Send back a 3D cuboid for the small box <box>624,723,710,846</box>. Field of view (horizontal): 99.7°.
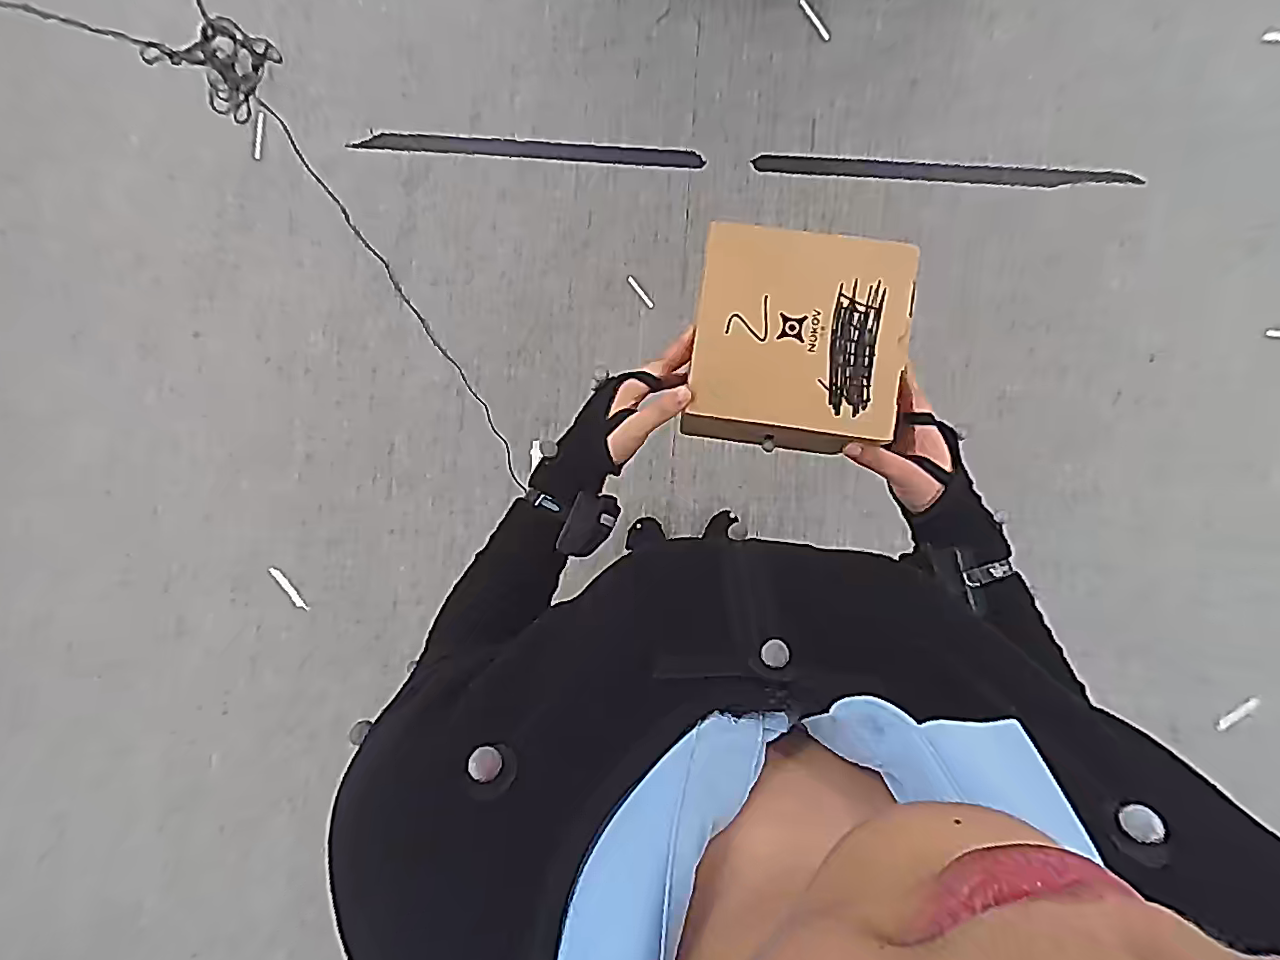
[{"bbox_3d":[0.063,0.690,1.241,0.168,0.176,0.179,9,88,3],"label":"small box"}]
